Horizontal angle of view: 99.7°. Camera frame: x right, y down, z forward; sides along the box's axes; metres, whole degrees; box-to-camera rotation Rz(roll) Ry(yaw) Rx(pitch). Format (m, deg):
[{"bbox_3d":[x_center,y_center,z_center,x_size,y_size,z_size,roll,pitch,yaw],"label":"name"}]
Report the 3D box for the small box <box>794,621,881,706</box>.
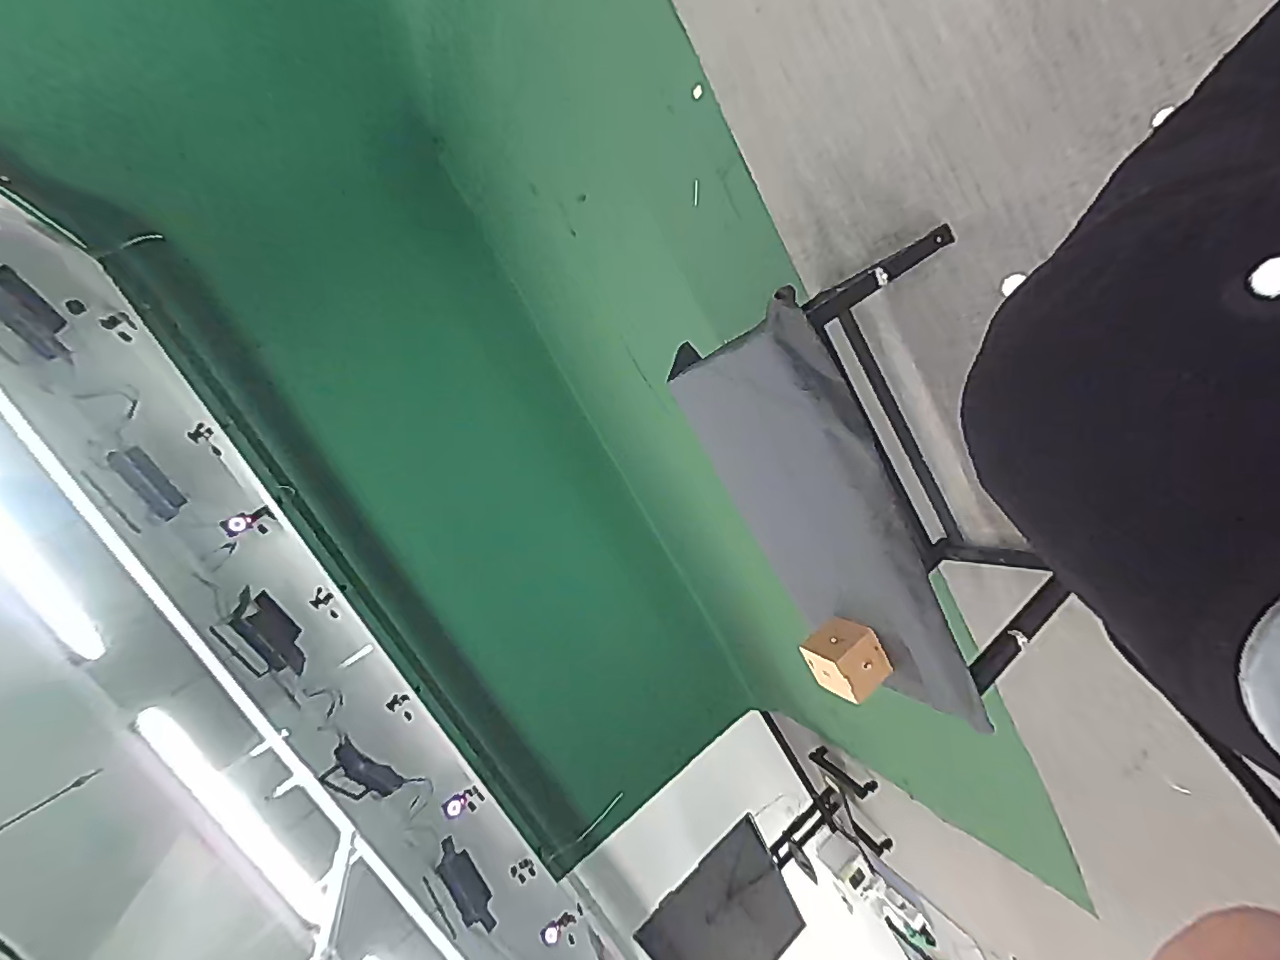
[{"bbox_3d":[0.630,0.569,1.706,0.168,0.176,0.179,61,160,-11],"label":"small box"}]
